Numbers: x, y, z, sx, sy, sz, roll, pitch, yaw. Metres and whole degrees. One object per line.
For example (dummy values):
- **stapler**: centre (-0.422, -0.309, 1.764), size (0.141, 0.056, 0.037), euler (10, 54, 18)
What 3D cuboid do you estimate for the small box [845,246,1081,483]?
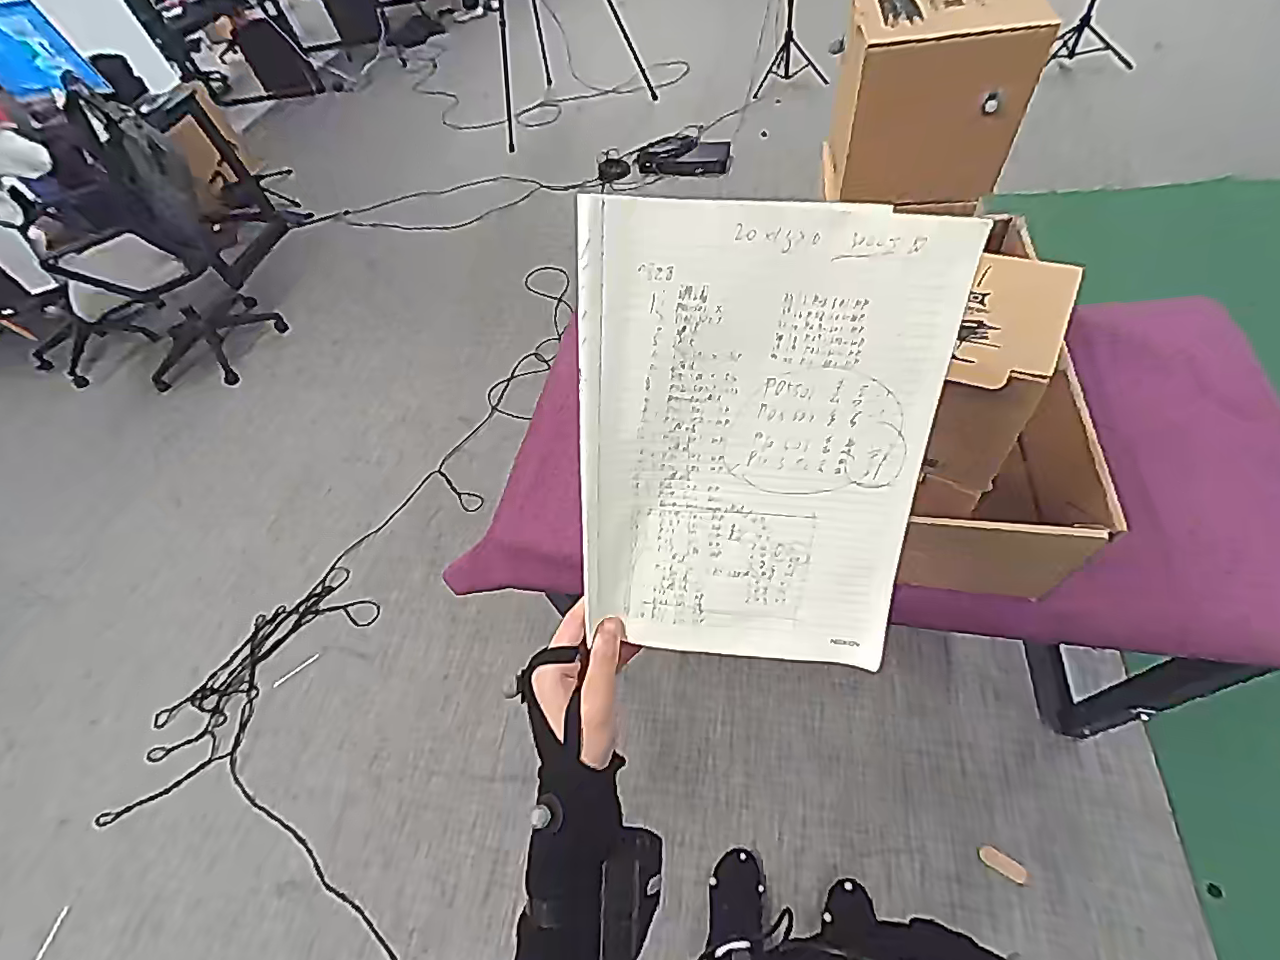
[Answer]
- **small box**: centre (0.339, -0.124, 0.596), size (0.168, 0.176, 0.179), euler (22, 61, 26)

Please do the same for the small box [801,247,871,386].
- **small box**: centre (0.361, -0.267, 0.898), size (0.168, 0.176, 0.179), euler (4, 58, 14)

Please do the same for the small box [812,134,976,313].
- **small box**: centre (0.339, -0.353, 0.763), size (0.179, 0.176, 0.168), euler (2, 57, 12)
